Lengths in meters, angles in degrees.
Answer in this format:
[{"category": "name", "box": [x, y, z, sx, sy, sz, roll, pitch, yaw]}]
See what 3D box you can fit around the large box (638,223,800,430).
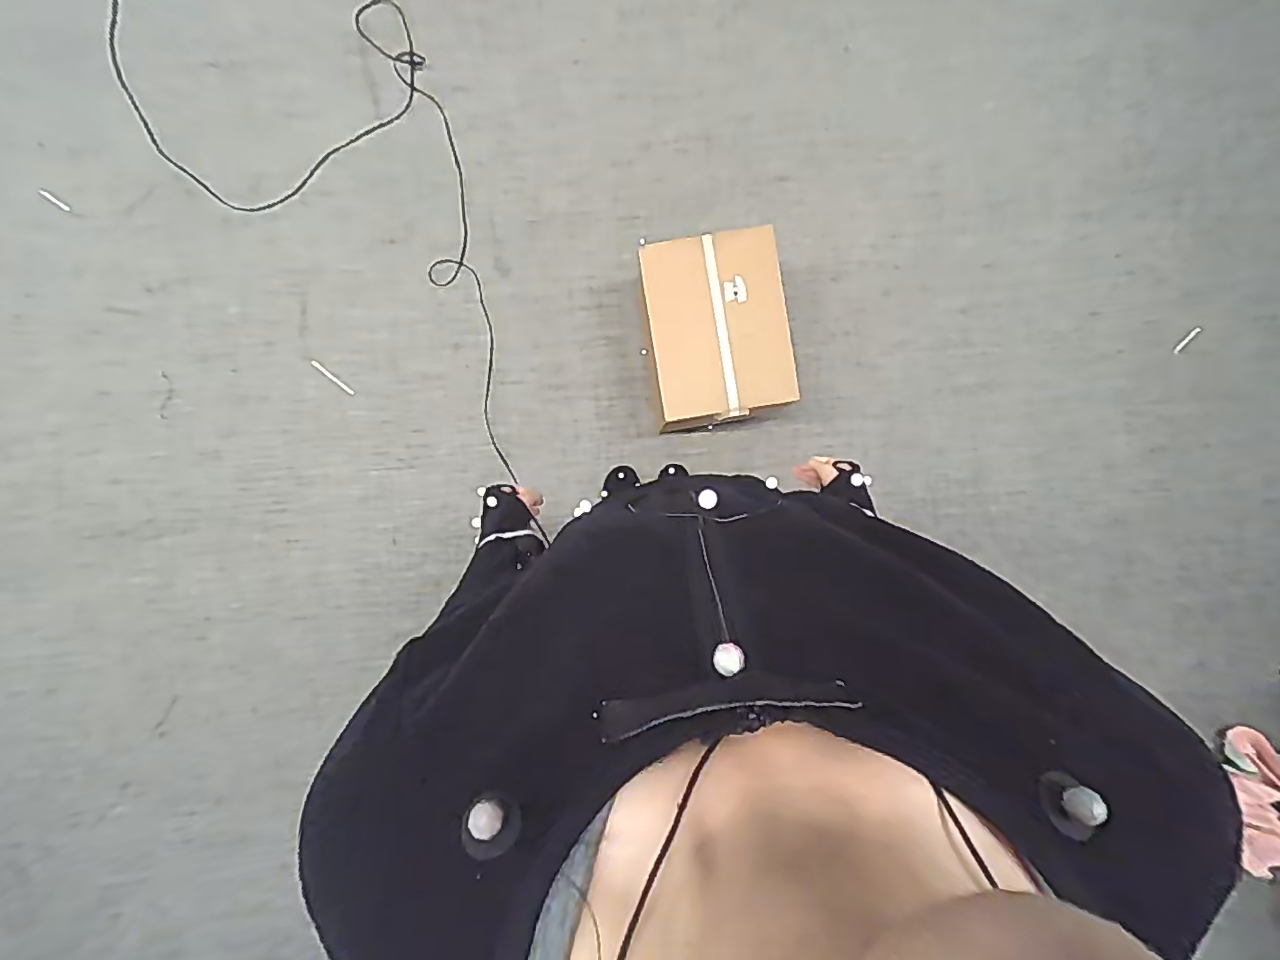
[{"category": "large box", "box": [0.180, -0.361, 1.367, 0.320, 0.320, 0.408, -9, 90, -1]}]
